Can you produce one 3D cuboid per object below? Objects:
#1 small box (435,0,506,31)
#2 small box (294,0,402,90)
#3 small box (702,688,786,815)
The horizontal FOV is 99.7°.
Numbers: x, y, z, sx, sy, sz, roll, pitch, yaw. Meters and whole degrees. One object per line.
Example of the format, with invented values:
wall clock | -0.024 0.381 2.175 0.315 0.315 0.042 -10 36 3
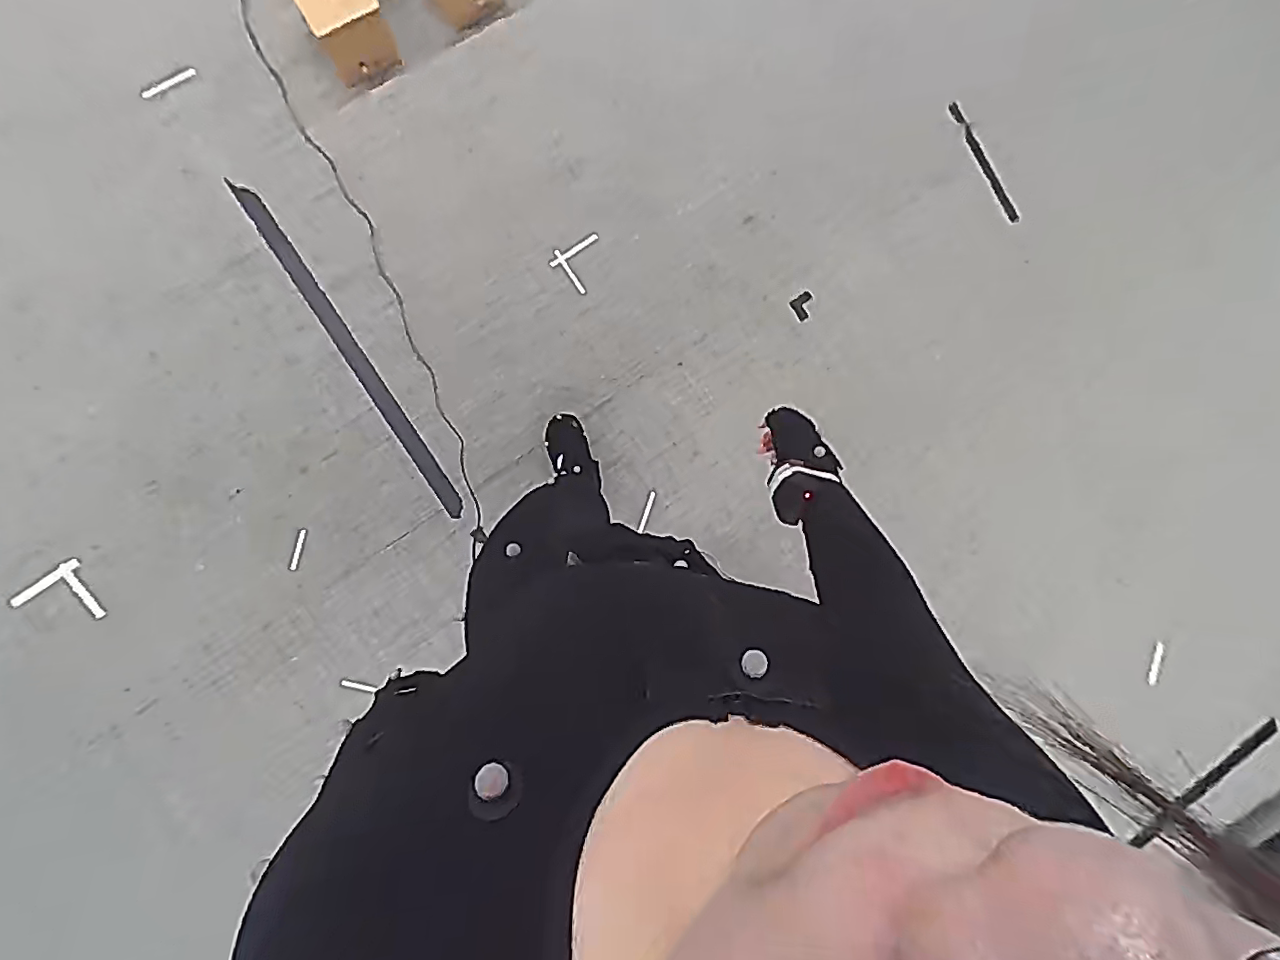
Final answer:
small box | -0.463 -1.308 1.368 0.168 0.176 0.179 -36 94 -5
small box | -0.727 -1.128 1.336 0.168 0.176 0.179 -32 94 -5
small box | 0.261 0.621 1.259 0.179 0.176 0.168 -29 94 -6
